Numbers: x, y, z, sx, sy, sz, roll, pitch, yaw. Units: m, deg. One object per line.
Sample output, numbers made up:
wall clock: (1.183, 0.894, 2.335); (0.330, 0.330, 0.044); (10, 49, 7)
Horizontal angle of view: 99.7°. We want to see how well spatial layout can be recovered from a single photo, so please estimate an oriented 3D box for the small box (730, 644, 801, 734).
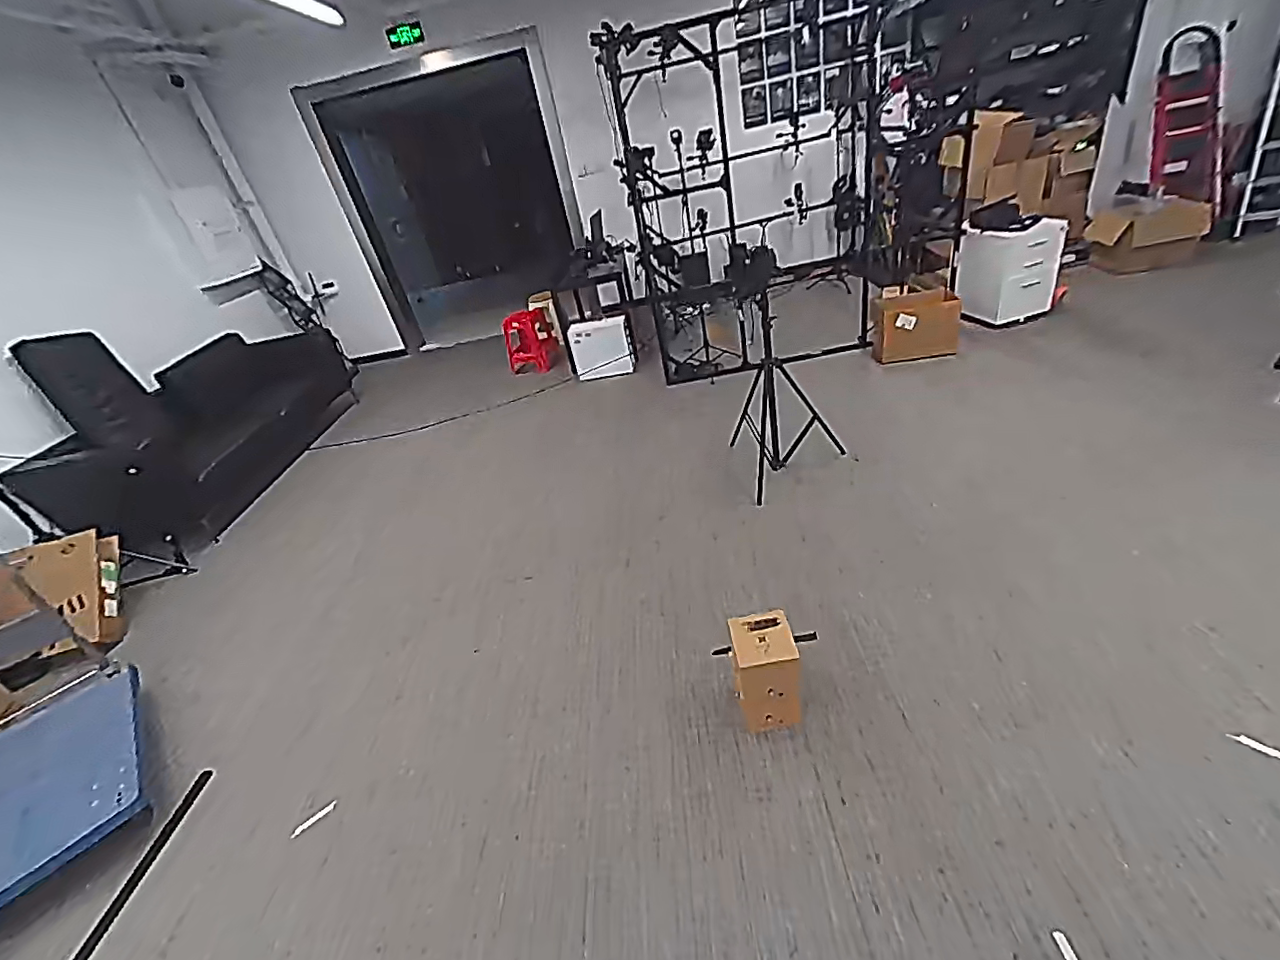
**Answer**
small box: (0.381, 0.635, 1.646); (0.168, 0.176, 0.179); (-13, 32, 1)
